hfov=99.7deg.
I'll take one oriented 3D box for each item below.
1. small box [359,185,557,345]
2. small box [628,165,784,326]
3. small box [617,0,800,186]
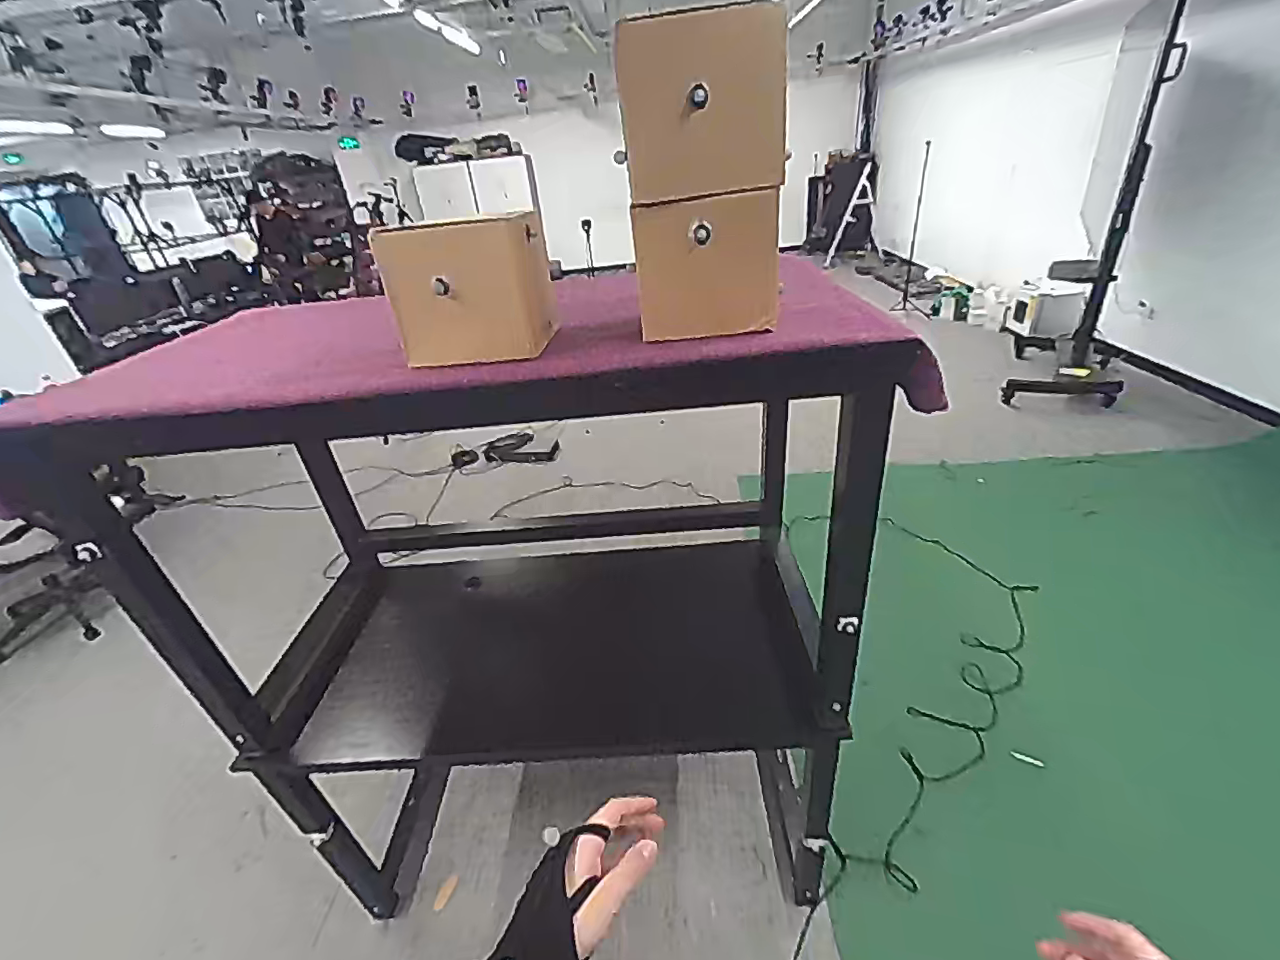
[{"bbox_3d":[-0.221,-0.283,0.711,0.179,0.176,0.168,-2,31,6],"label":"small box"},{"bbox_3d":[0.087,-0.303,0.702,0.179,0.176,0.168,-1,31,7],"label":"small box"},{"bbox_3d":[0.072,-0.442,0.616,0.179,0.176,0.168,-6,31,3],"label":"small box"}]
